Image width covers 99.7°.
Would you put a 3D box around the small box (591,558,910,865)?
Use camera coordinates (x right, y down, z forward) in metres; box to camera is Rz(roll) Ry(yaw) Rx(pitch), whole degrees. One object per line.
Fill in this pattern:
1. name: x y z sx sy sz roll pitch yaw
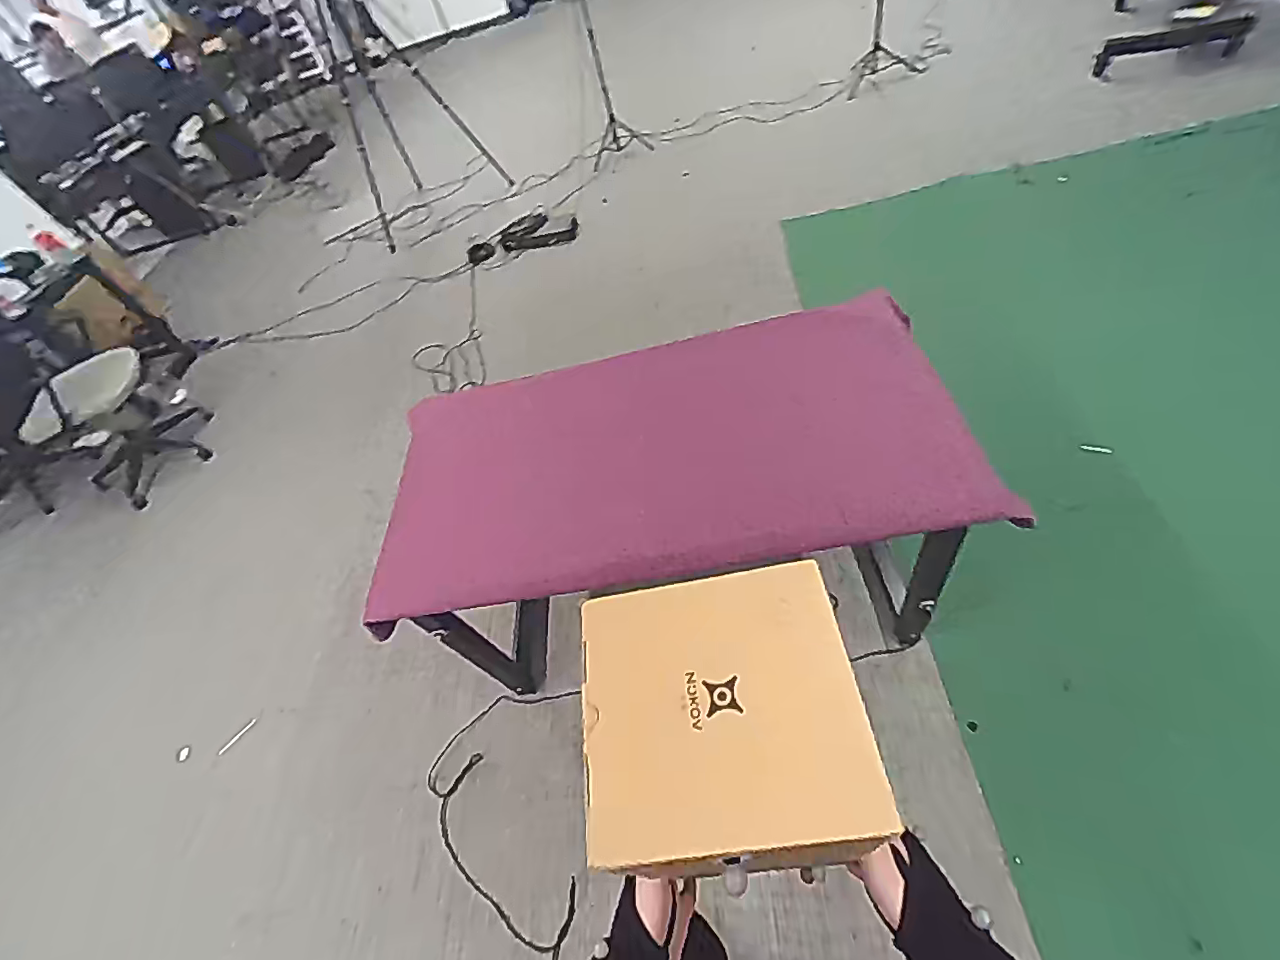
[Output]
1. small box: 0.071 0.181 0.407 0.179 0.176 0.168 -12 52 7

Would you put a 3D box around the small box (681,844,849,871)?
1. small box: 0.139 0.373 0.663 0.179 0.176 0.168 -11 51 8
